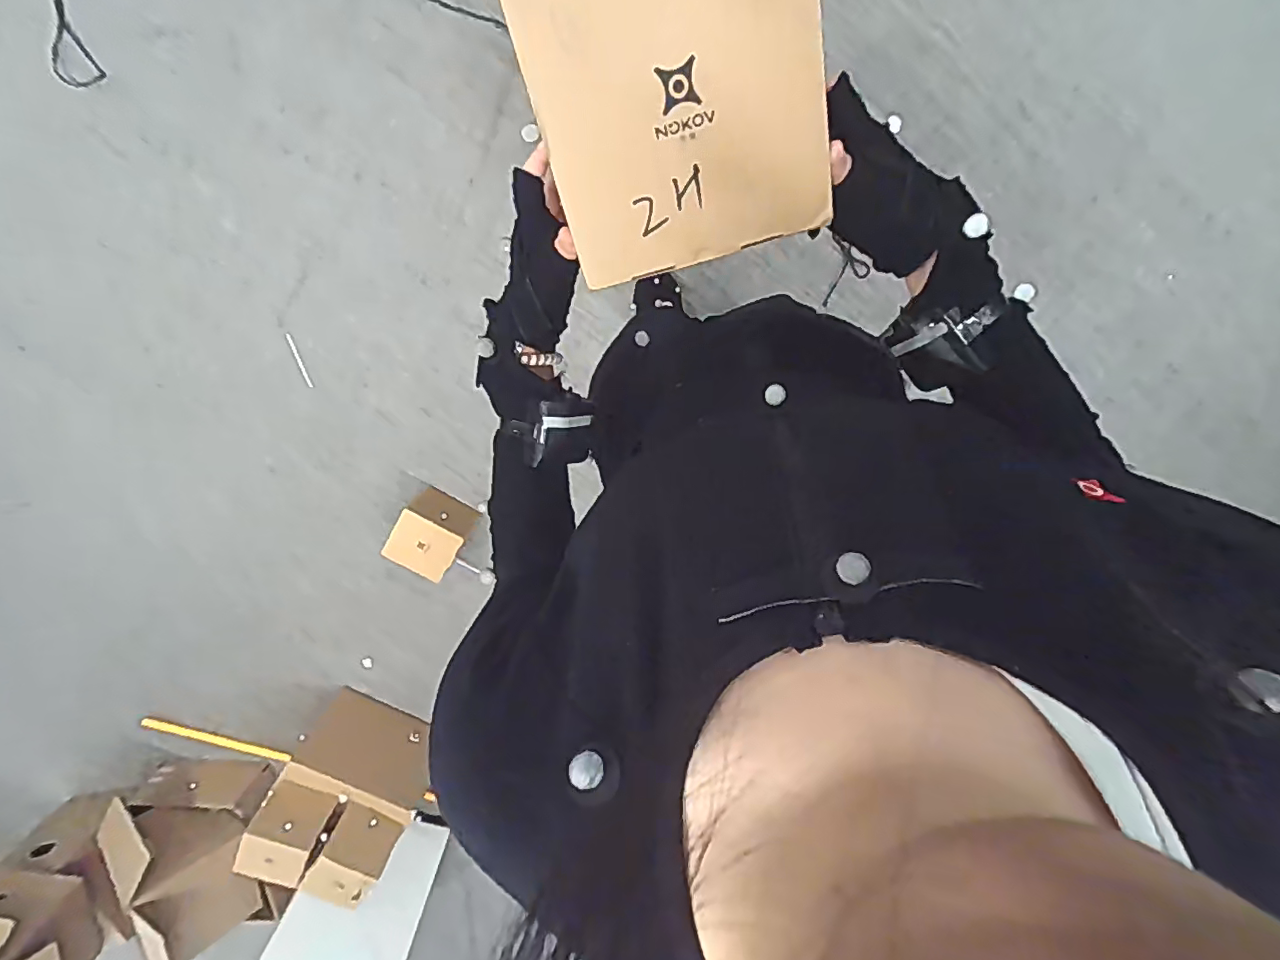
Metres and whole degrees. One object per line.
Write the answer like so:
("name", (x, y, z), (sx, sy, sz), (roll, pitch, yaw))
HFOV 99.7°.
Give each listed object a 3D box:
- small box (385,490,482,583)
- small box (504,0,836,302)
("small box", (-0.573, 0.149, 1.518), (0.179, 0.176, 0.168), (30, 109, -12))
("small box", (0.022, -0.247, 0.373), (0.168, 0.176, 0.179), (-13, 122, 6))
